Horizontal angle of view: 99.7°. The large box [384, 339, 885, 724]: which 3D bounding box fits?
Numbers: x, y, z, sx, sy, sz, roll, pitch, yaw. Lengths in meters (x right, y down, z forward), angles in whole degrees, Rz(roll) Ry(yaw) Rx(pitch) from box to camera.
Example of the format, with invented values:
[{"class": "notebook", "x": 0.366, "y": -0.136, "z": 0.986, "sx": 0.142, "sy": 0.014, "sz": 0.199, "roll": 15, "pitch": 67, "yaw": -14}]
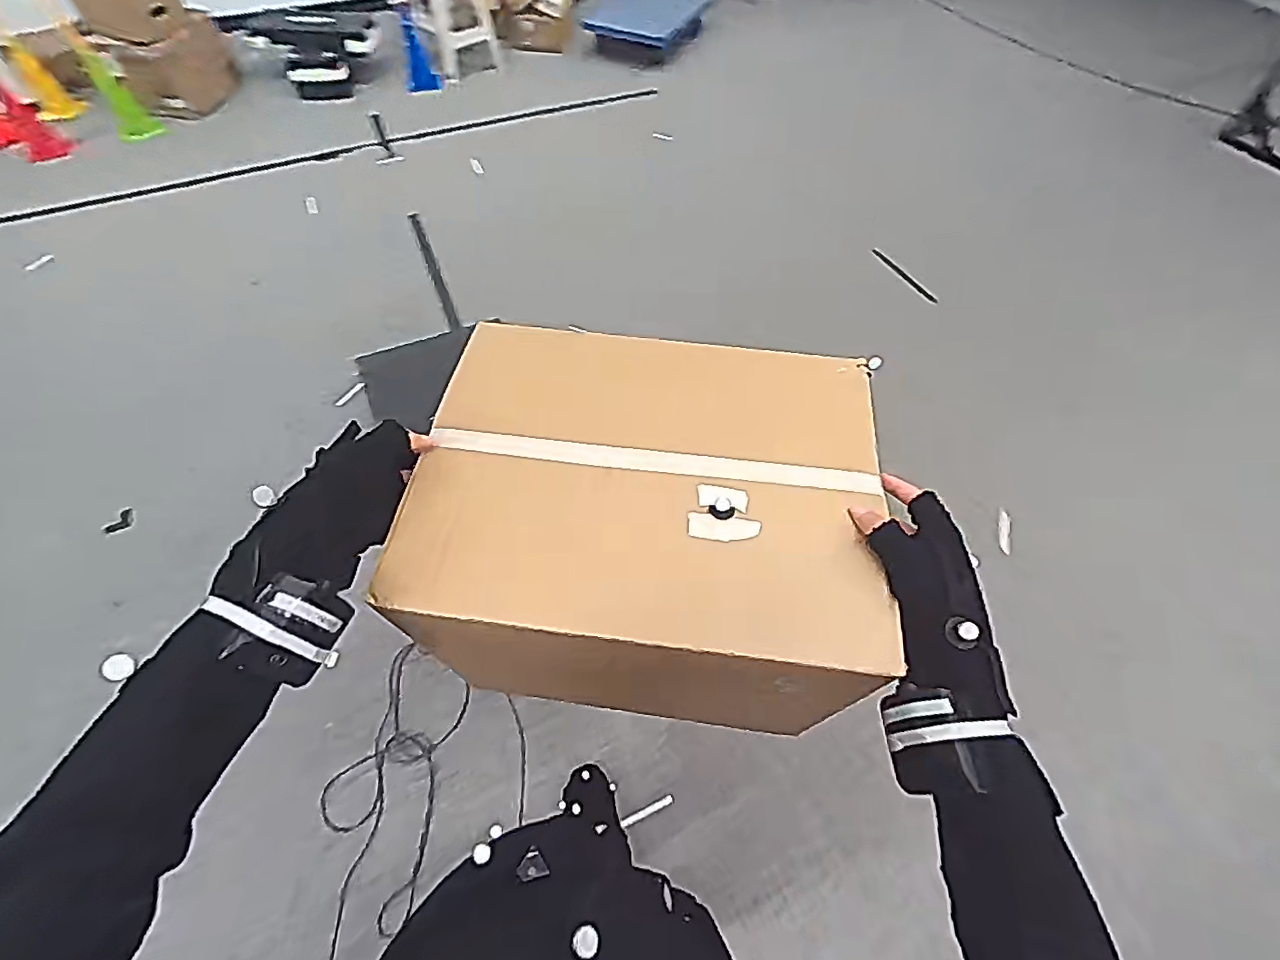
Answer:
[{"class": "large box", "x": 0.004, "y": 0.071, "z": 0.624, "sx": 0.408, "sy": 0.320, "sz": 0.320, "roll": 6, "pitch": 58, "yaw": 3}]
